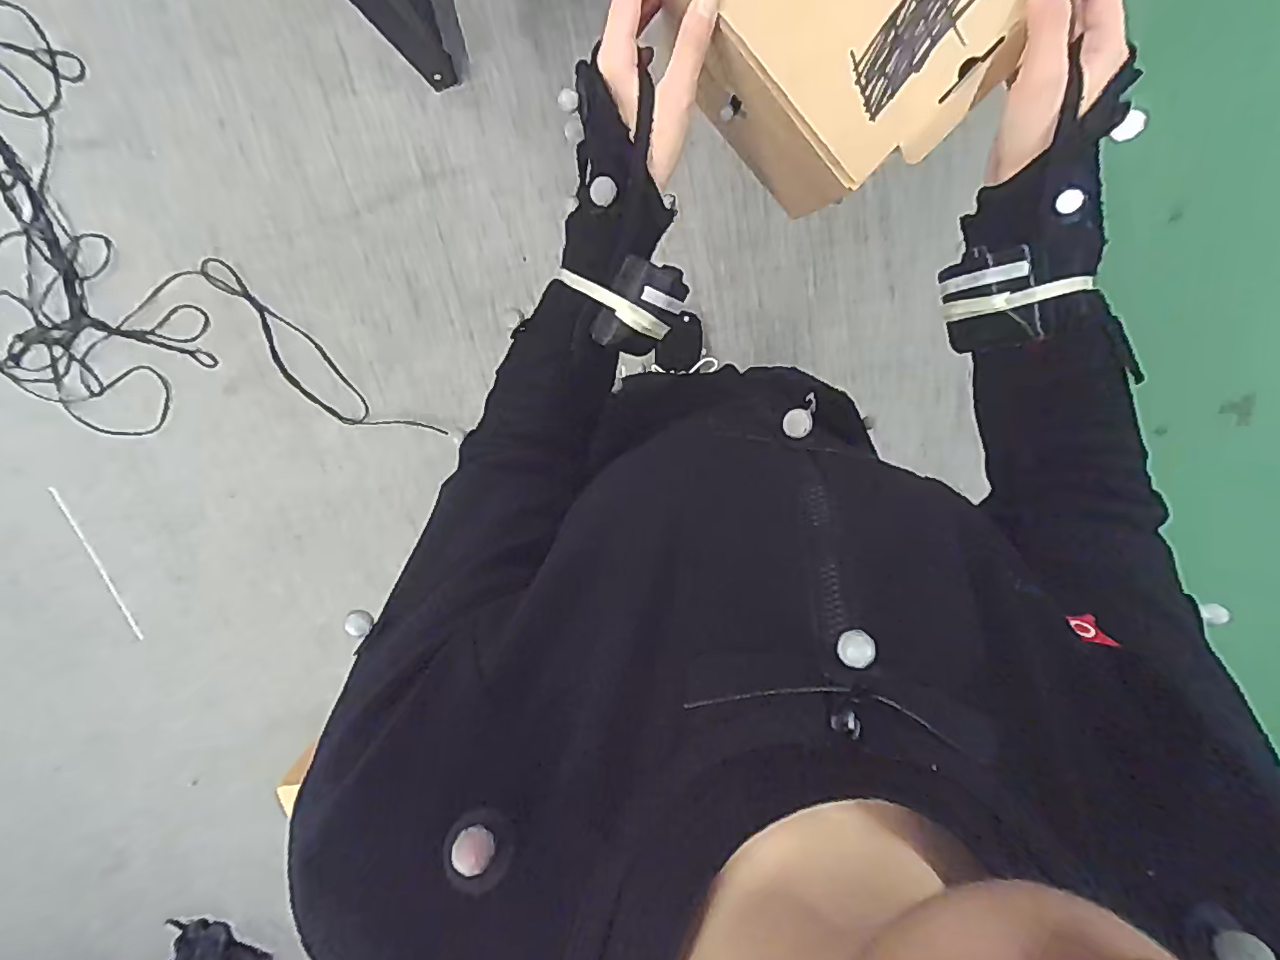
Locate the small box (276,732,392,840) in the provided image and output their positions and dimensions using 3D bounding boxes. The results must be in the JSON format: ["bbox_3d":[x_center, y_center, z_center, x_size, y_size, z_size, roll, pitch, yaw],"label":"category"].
[{"bbox_3d":[-0.768,0.772,1.375,0.179,0.176,0.168,-8,106,3],"label":"small box"}]
